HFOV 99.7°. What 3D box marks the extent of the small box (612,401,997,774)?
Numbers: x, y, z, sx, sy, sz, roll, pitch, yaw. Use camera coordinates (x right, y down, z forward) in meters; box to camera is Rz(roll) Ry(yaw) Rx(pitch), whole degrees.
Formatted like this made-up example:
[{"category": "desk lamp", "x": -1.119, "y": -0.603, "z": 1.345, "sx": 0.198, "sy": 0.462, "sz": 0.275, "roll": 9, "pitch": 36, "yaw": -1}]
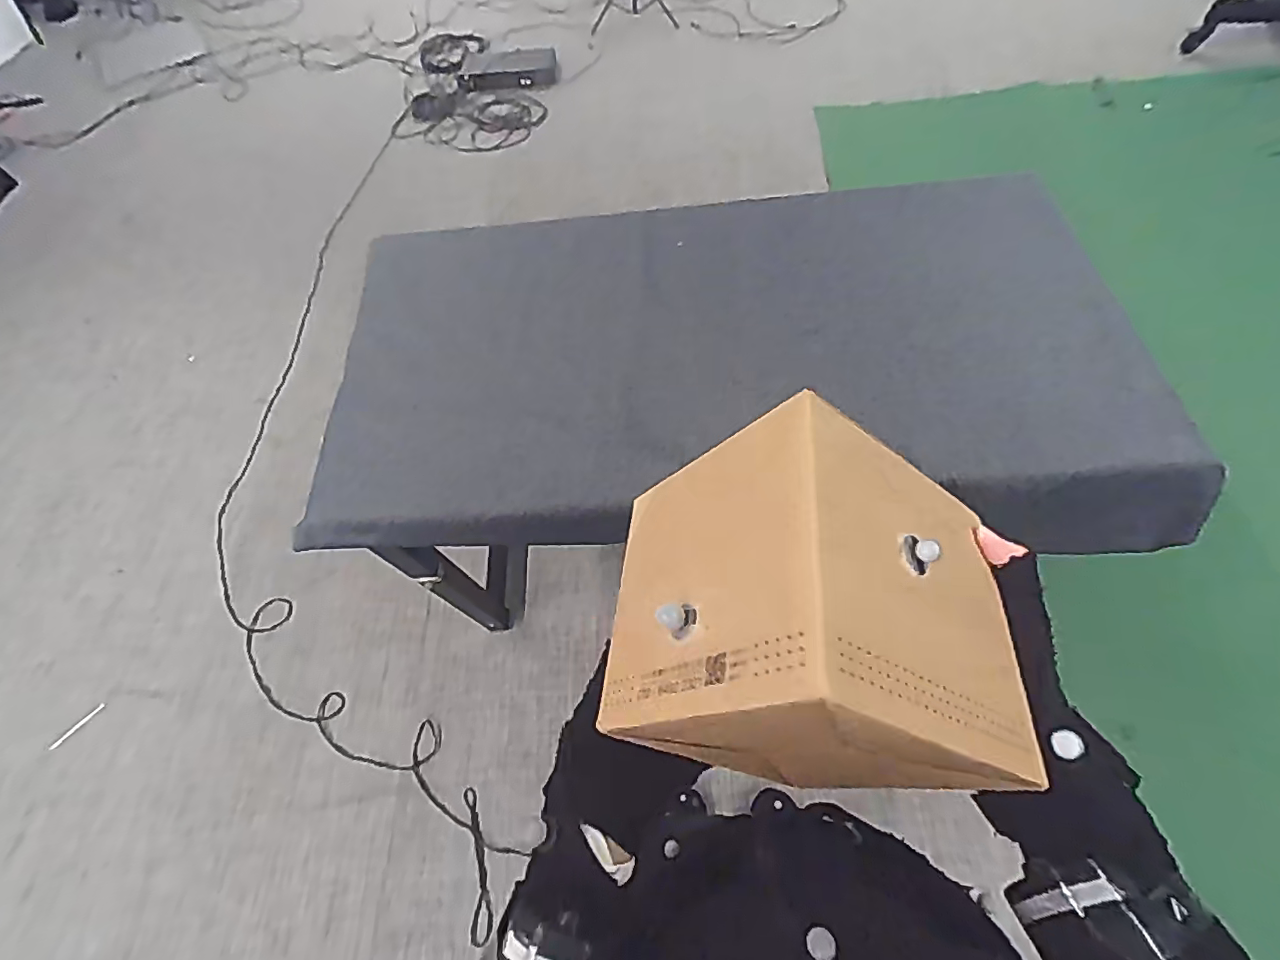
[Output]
[{"category": "small box", "x": 0.102, "y": 0.087, "z": 0.358, "sx": 0.179, "sy": 0.168, "sz": 0.176, "roll": 28, "pitch": 51, "yaw": -26}]
